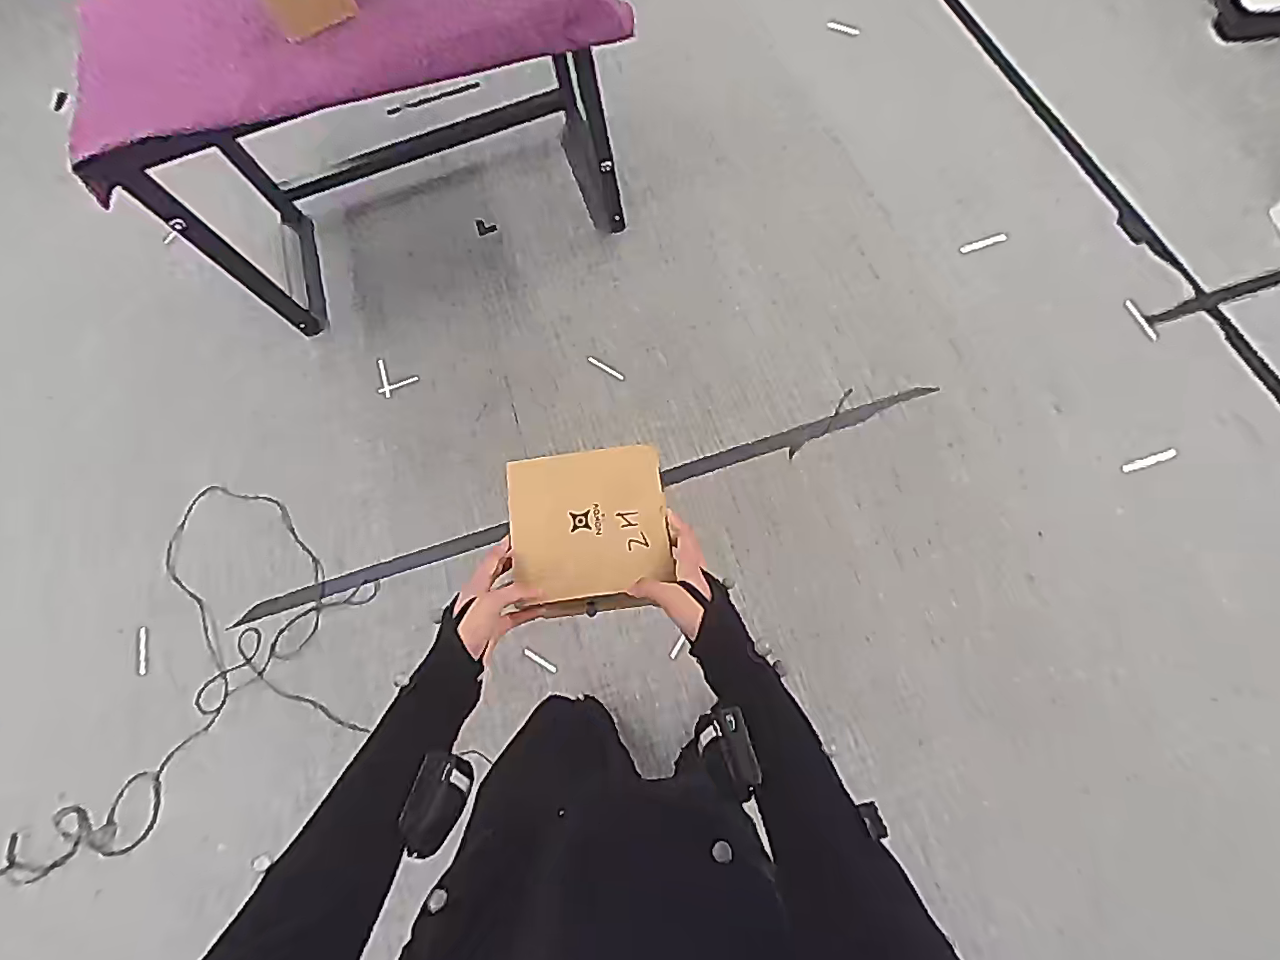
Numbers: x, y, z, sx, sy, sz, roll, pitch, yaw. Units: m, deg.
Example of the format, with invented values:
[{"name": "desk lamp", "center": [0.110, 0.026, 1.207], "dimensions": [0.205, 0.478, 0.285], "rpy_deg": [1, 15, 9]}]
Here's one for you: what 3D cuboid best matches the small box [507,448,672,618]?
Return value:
[{"name": "small box", "center": [-0.056, 0.075, 0.671], "dimensions": [0.179, 0.176, 0.168], "rpy_deg": [-7, 72, -1]}]
